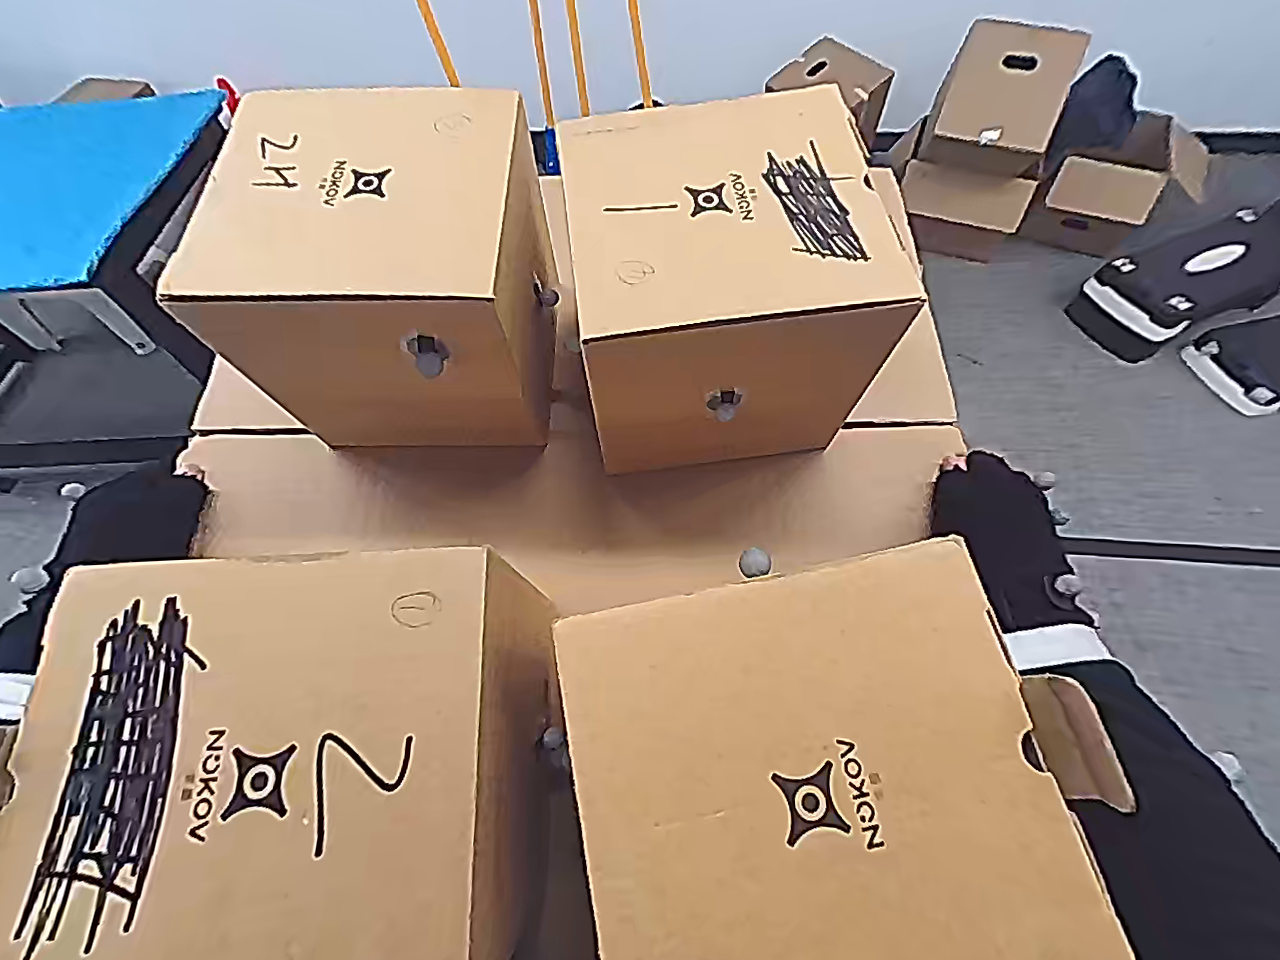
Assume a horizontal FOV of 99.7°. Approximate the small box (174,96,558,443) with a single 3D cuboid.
[{"bbox_3d":[-0.160,-0.136,0.391,0.179,0.176,0.168,1,66,1],"label":"small box"}]
